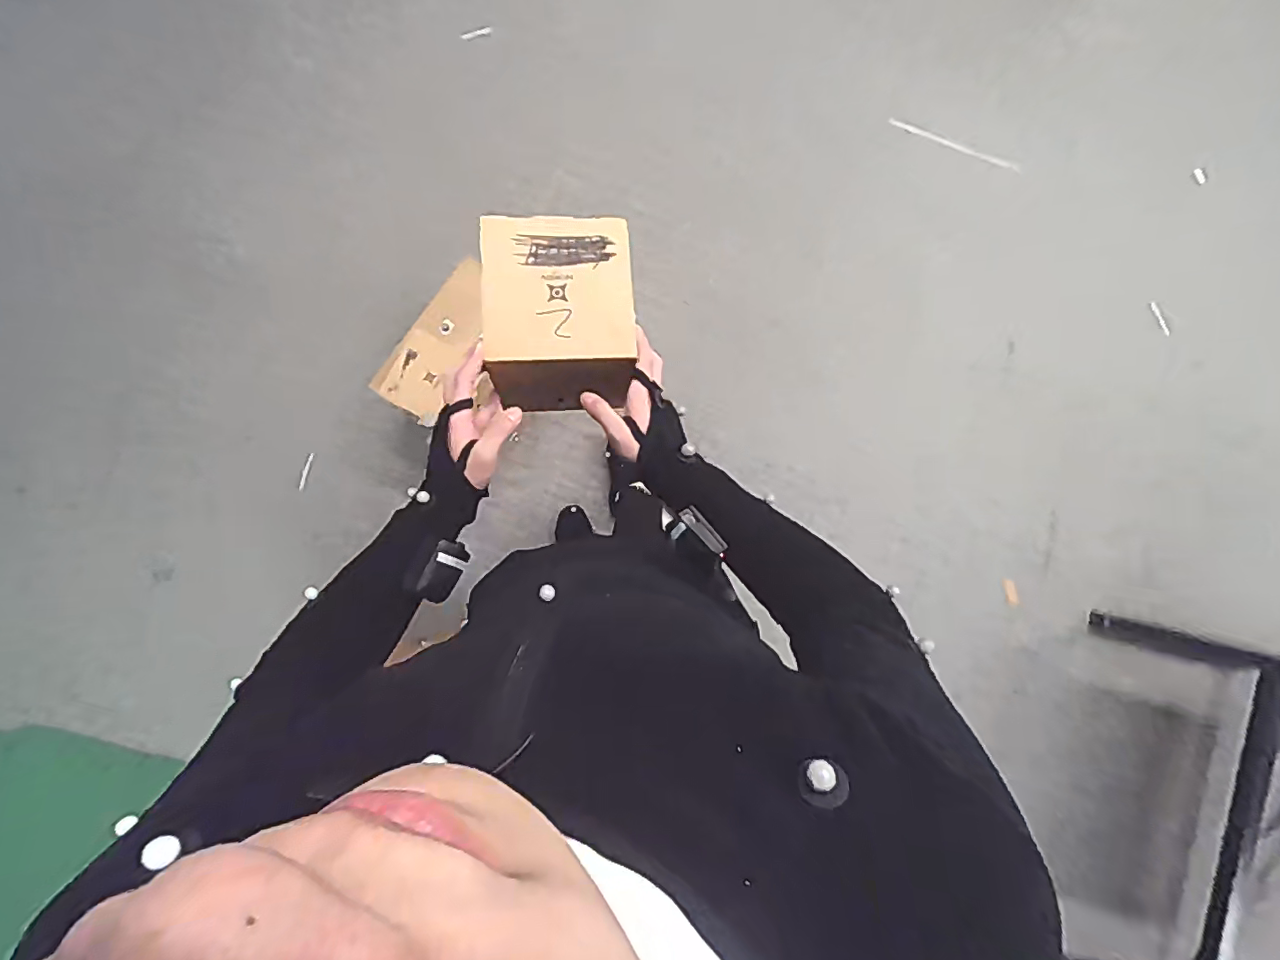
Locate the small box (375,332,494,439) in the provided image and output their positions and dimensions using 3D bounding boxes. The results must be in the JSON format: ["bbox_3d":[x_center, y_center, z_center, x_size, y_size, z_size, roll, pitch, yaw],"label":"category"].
[{"bbox_3d":[-0.448,-0.201,1.214,0.179,0.176,0.168,28,85,-6],"label":"small box"}]
